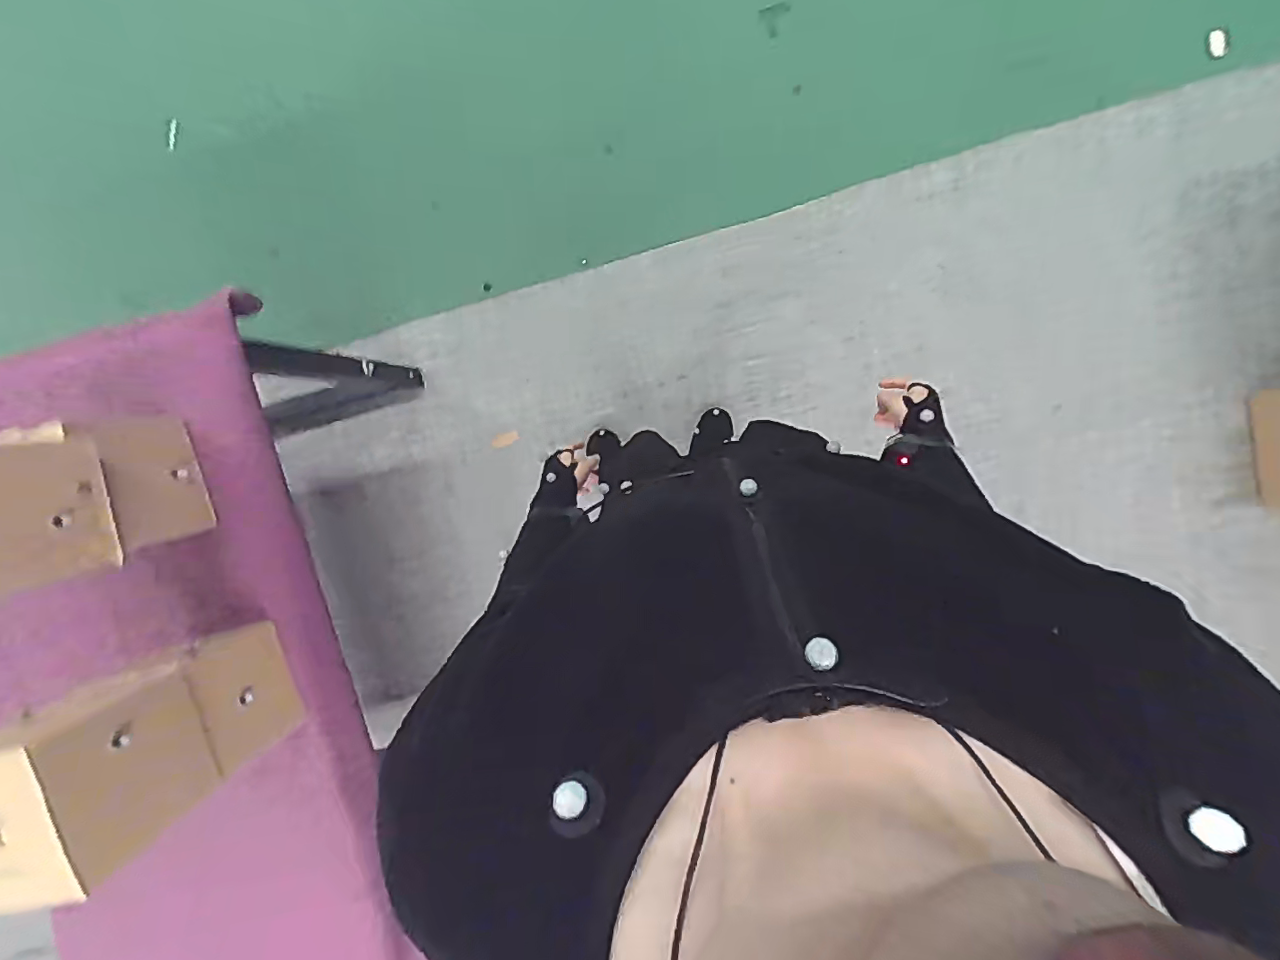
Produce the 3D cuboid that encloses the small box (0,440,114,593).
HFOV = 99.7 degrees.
[{"bbox_3d":[-0.765,0.046,0.608,0.179,0.176,0.168,-6,96,6],"label":"small box"}]

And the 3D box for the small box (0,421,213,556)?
[{"bbox_3d":[-0.770,0.020,0.771,0.168,0.176,0.179,-14,94,8],"label":"small box"}]

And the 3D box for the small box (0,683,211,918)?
[{"bbox_3d":[-0.659,0.356,0.627,0.168,0.176,0.179,-13,95,9],"label":"small box"}]
